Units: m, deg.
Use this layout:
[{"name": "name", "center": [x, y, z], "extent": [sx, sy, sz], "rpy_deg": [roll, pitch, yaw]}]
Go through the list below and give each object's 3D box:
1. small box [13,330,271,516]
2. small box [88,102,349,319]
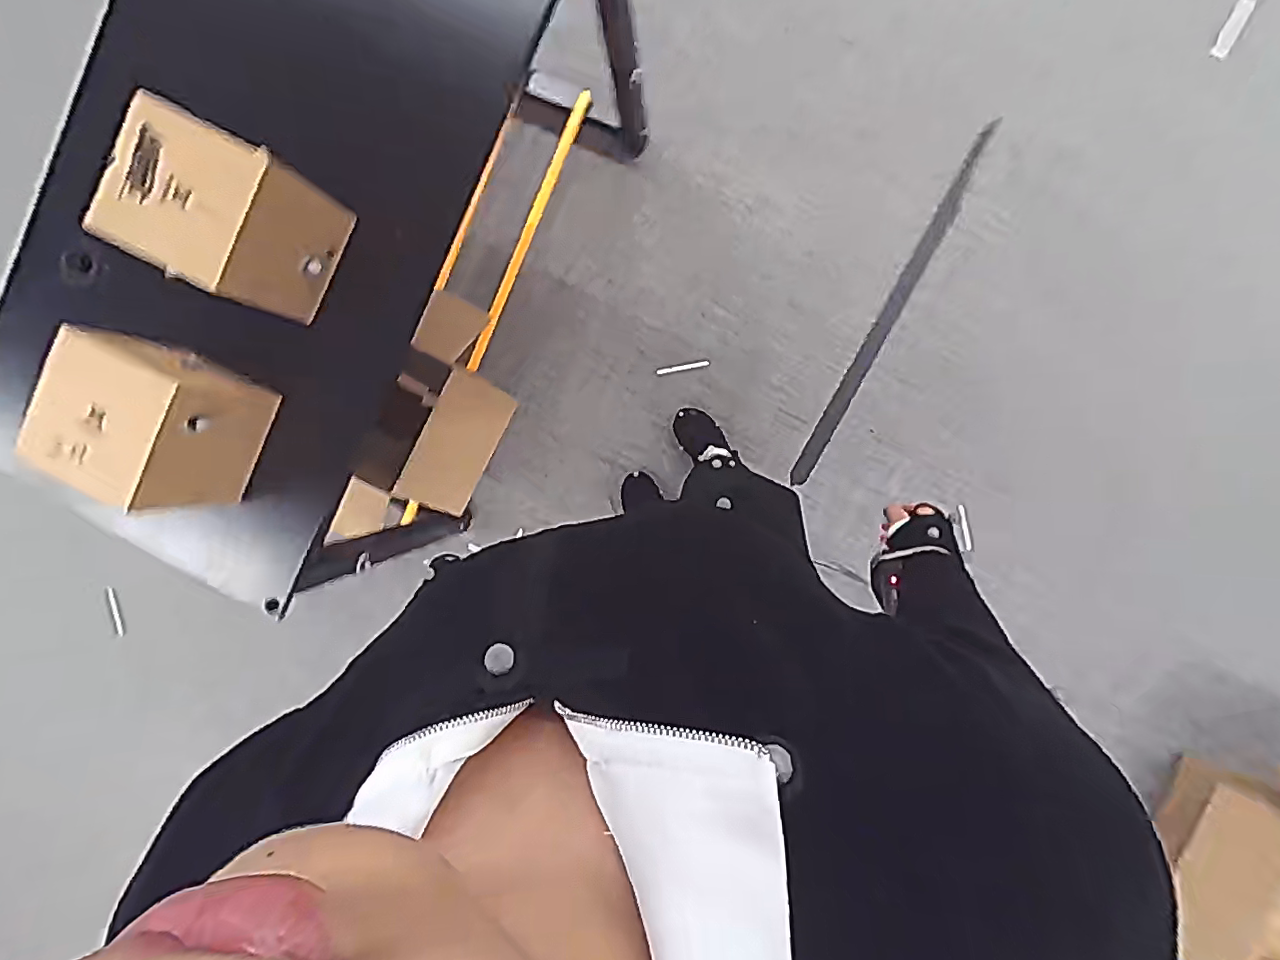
[{"name": "small box", "center": [-0.646, -0.071, 0.726], "extent": [0.168, 0.176, 0.179], "rpy_deg": [25, 94, 3]}, {"name": "small box", "center": [-0.530, -0.331, 0.704], "extent": [0.179, 0.176, 0.168], "rpy_deg": [27, 95, 2]}]
